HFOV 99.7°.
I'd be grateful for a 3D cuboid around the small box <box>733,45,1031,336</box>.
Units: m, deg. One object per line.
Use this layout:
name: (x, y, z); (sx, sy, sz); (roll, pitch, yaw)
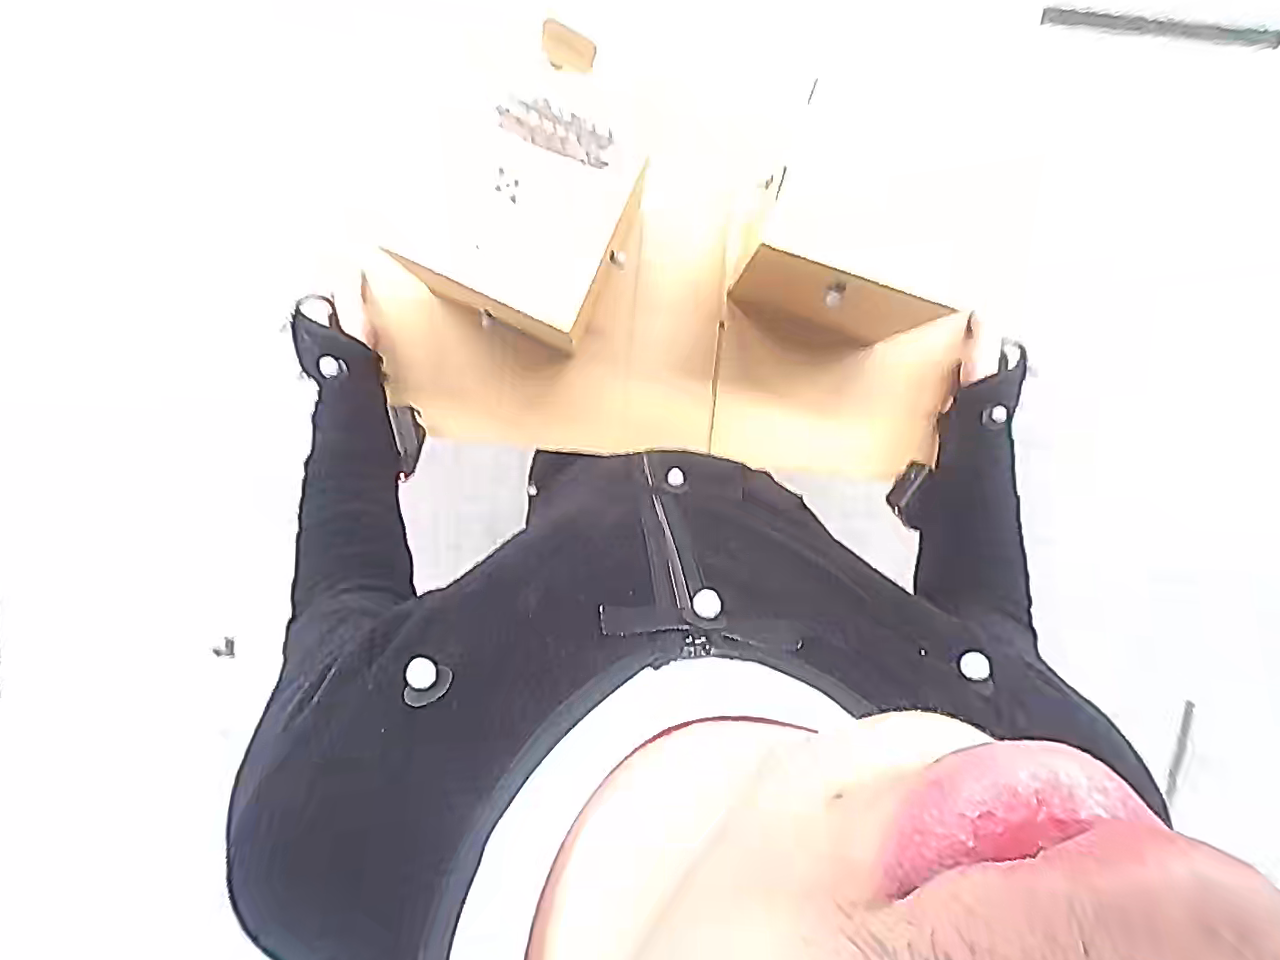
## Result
small box: (0.205, -0.248, 0.514); (0.179, 0.176, 0.168); (18, 95, 0)
